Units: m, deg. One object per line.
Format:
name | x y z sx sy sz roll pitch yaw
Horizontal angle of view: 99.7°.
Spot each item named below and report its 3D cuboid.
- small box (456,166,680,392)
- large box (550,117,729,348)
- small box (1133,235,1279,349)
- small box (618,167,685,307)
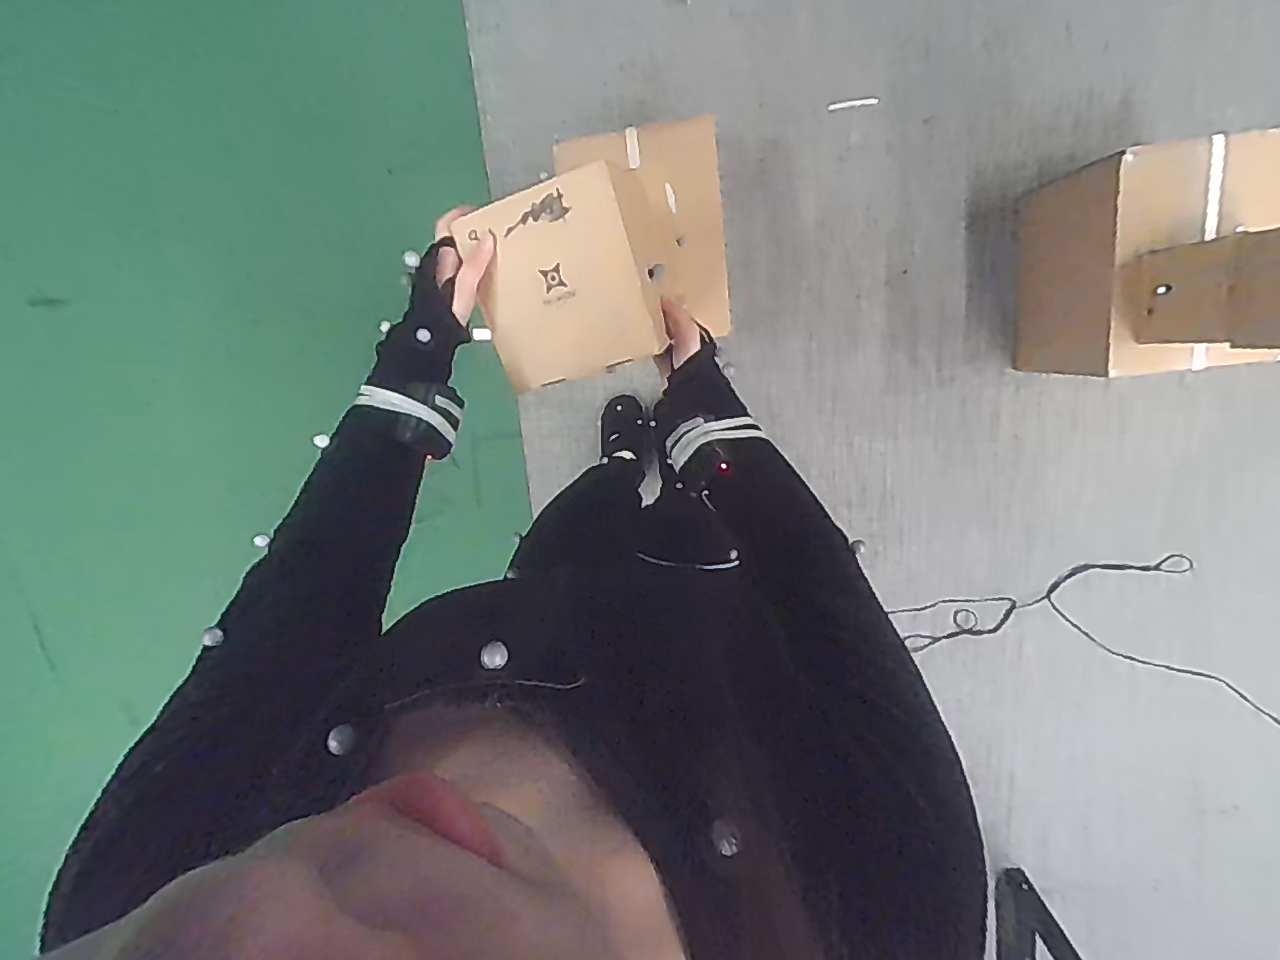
small box | -0.061 -0.217 0.593 0.168 0.176 0.179 -12 111 16
large box | 0.017 -0.501 1.206 0.320 0.320 0.408 -6 102 6
small box | 1.011 -0.322 0.927 0.179 0.176 0.168 -7 104 7
small box | -0.025 -0.341 0.827 0.168 0.176 0.179 -11 102 7
